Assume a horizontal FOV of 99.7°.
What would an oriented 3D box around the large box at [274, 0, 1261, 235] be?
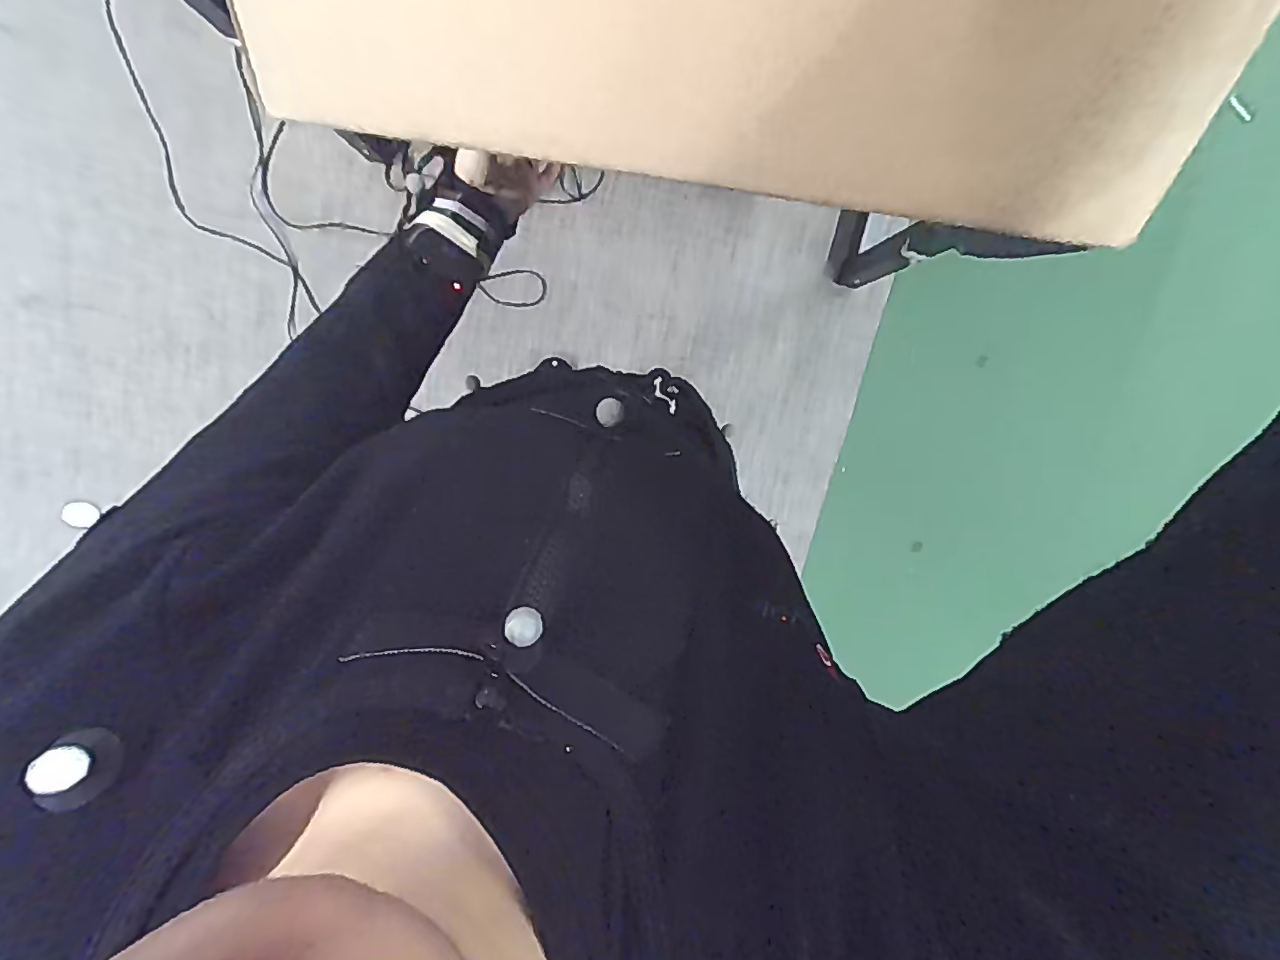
[{"bbox_3d":[0.058,-0.345,0.281,0.408,0.320,0.320,10,129,7],"label":"large box"}]
